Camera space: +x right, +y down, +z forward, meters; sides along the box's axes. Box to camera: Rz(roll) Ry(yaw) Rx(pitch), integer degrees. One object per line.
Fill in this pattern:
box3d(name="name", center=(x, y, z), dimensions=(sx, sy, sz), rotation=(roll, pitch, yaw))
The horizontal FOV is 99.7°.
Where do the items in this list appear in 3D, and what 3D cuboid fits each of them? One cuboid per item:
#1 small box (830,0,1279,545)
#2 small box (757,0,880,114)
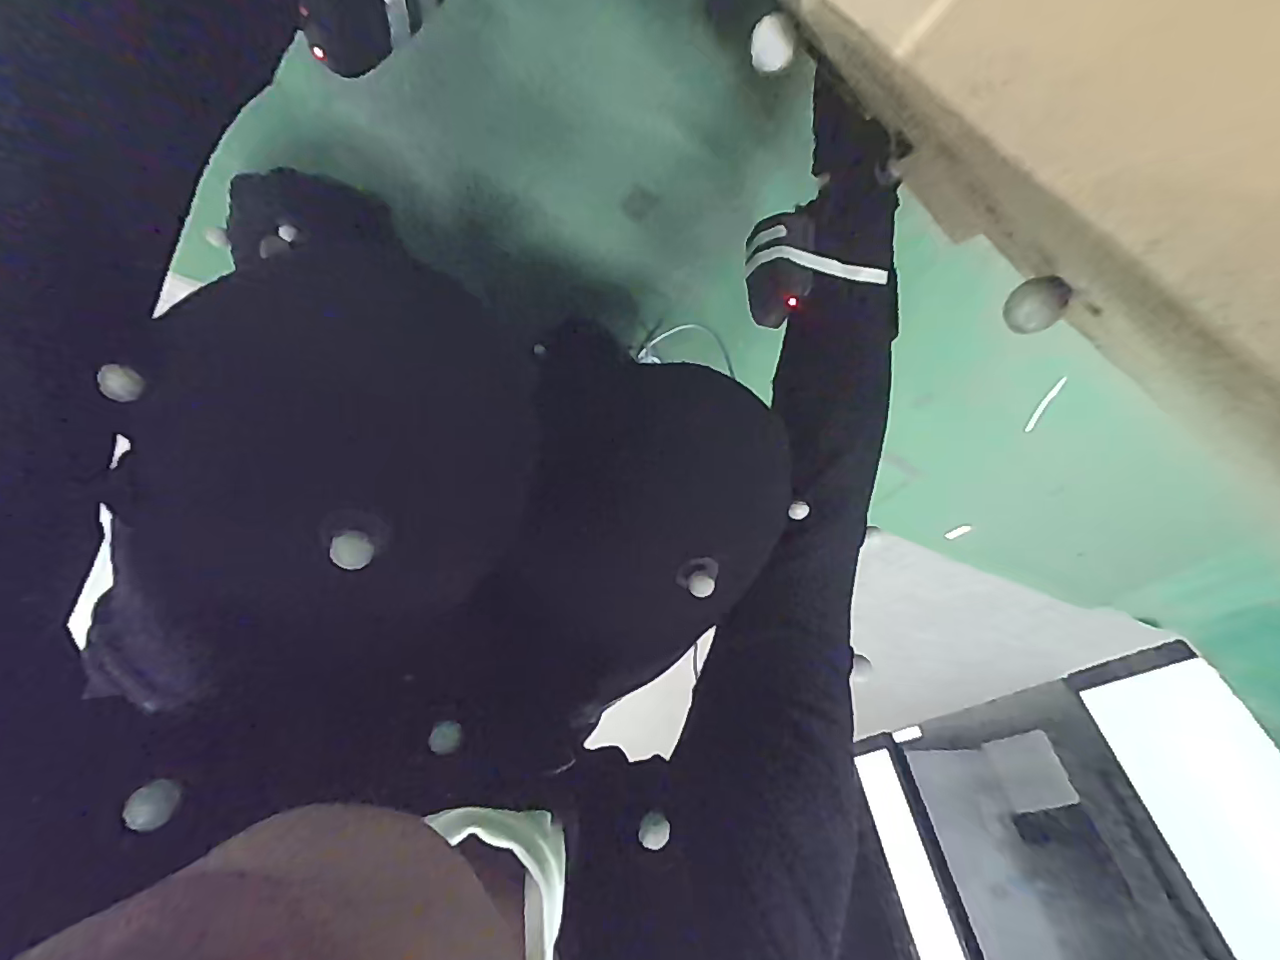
box3d(name="small box", center=(0.161, -0.073, 0.070), dimensions=(0.168, 0.176, 0.179), rotation=(15, 138, -35))
box3d(name="small box", center=(0.105, -0.336, 0.255), dimensions=(0.168, 0.176, 0.179), rotation=(18, 136, -36))
